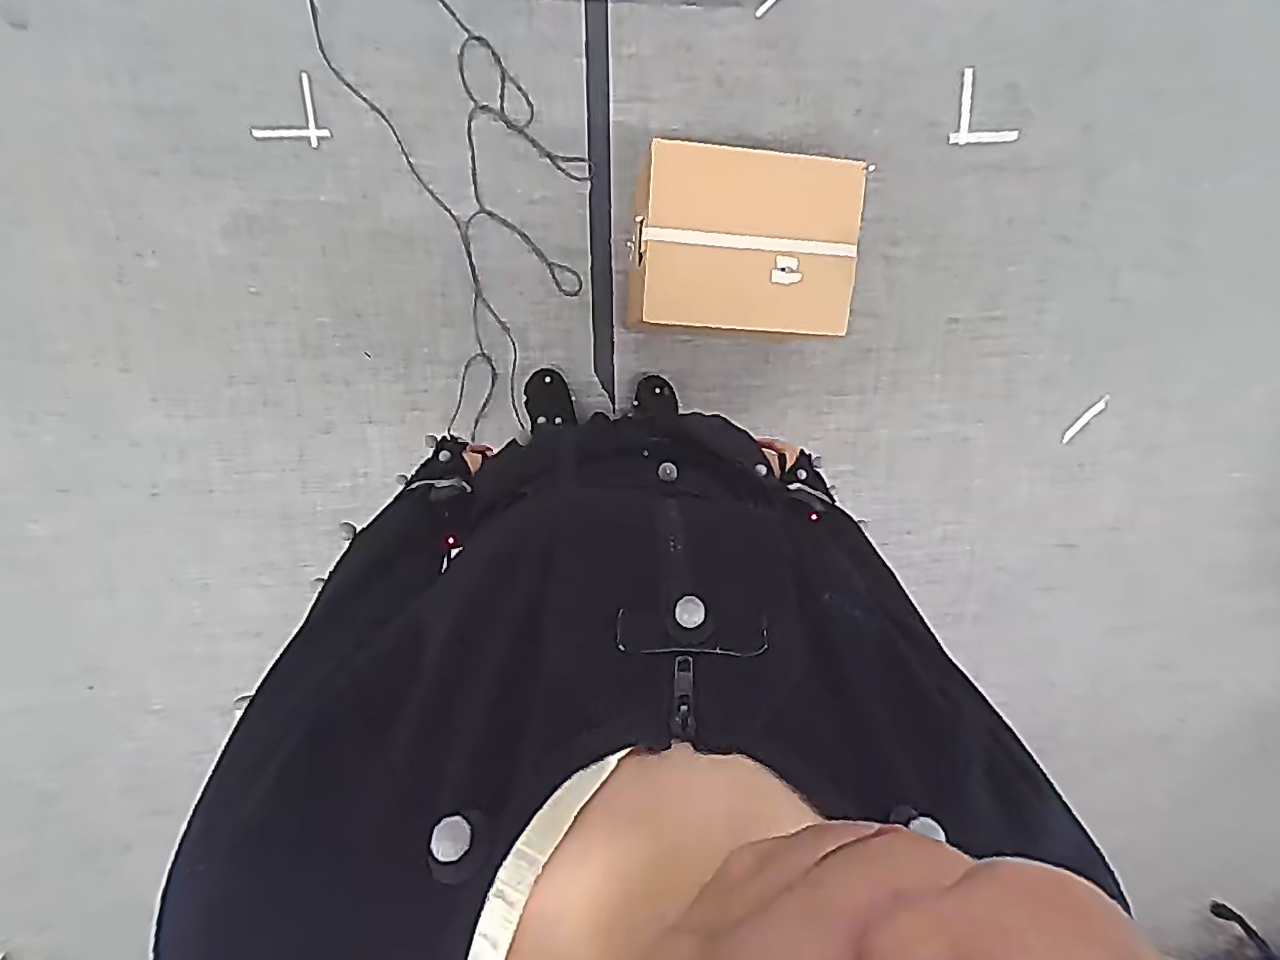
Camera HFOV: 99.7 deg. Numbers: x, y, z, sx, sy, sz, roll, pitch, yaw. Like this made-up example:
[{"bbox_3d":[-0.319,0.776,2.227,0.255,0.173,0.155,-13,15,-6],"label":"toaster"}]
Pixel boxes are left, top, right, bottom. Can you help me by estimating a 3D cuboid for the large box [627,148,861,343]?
[{"bbox_3d":[0.187,-0.463,1.147,0.408,0.320,0.320,1,103,-8],"label":"large box"}]
